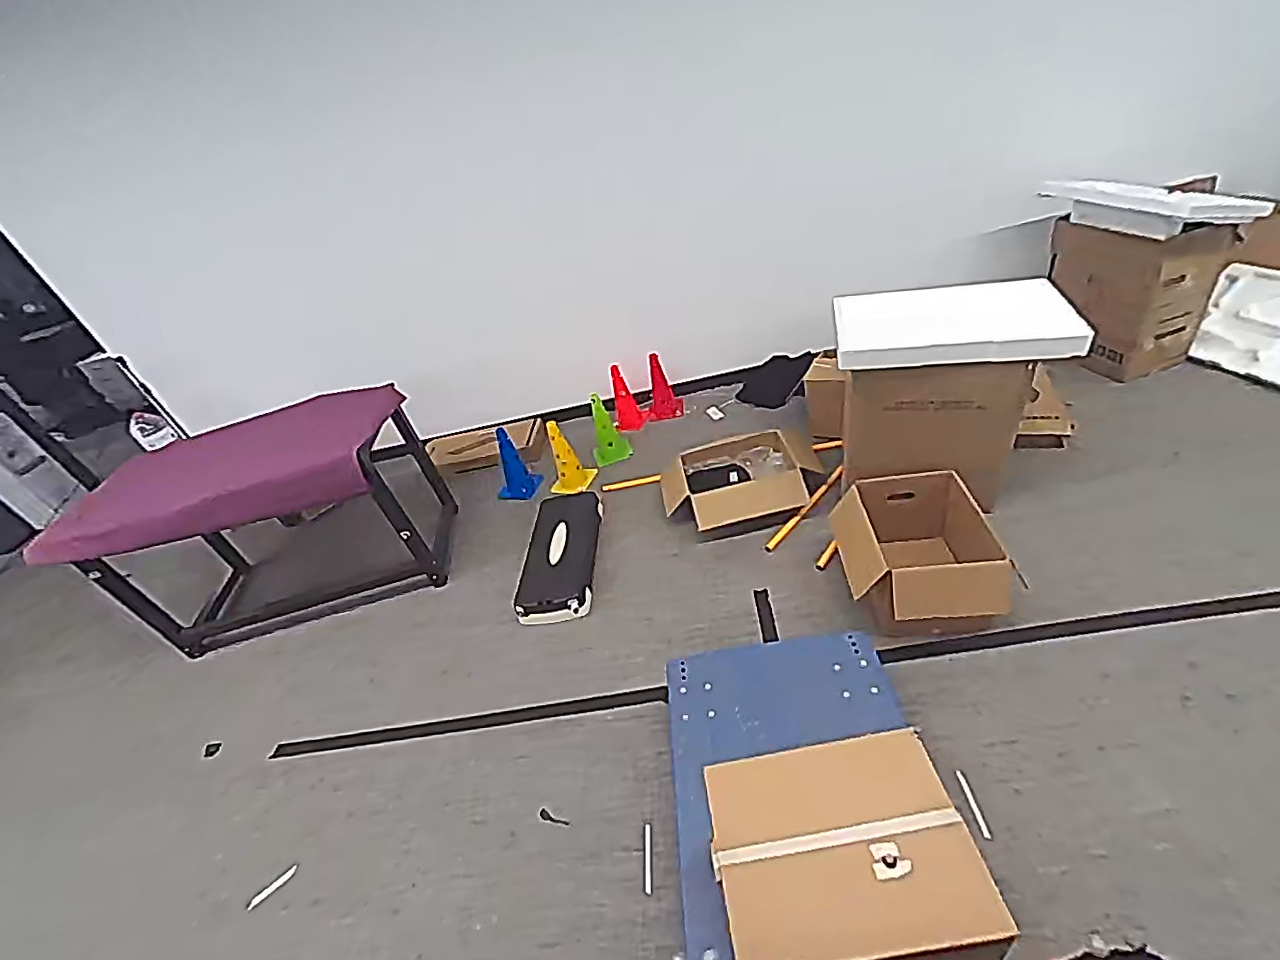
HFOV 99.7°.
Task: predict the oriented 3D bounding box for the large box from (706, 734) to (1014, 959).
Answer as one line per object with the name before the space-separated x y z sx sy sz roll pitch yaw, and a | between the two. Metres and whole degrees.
large box | 0.360 0.725 0.984 0.408 0.320 0.320 -12 36 3
